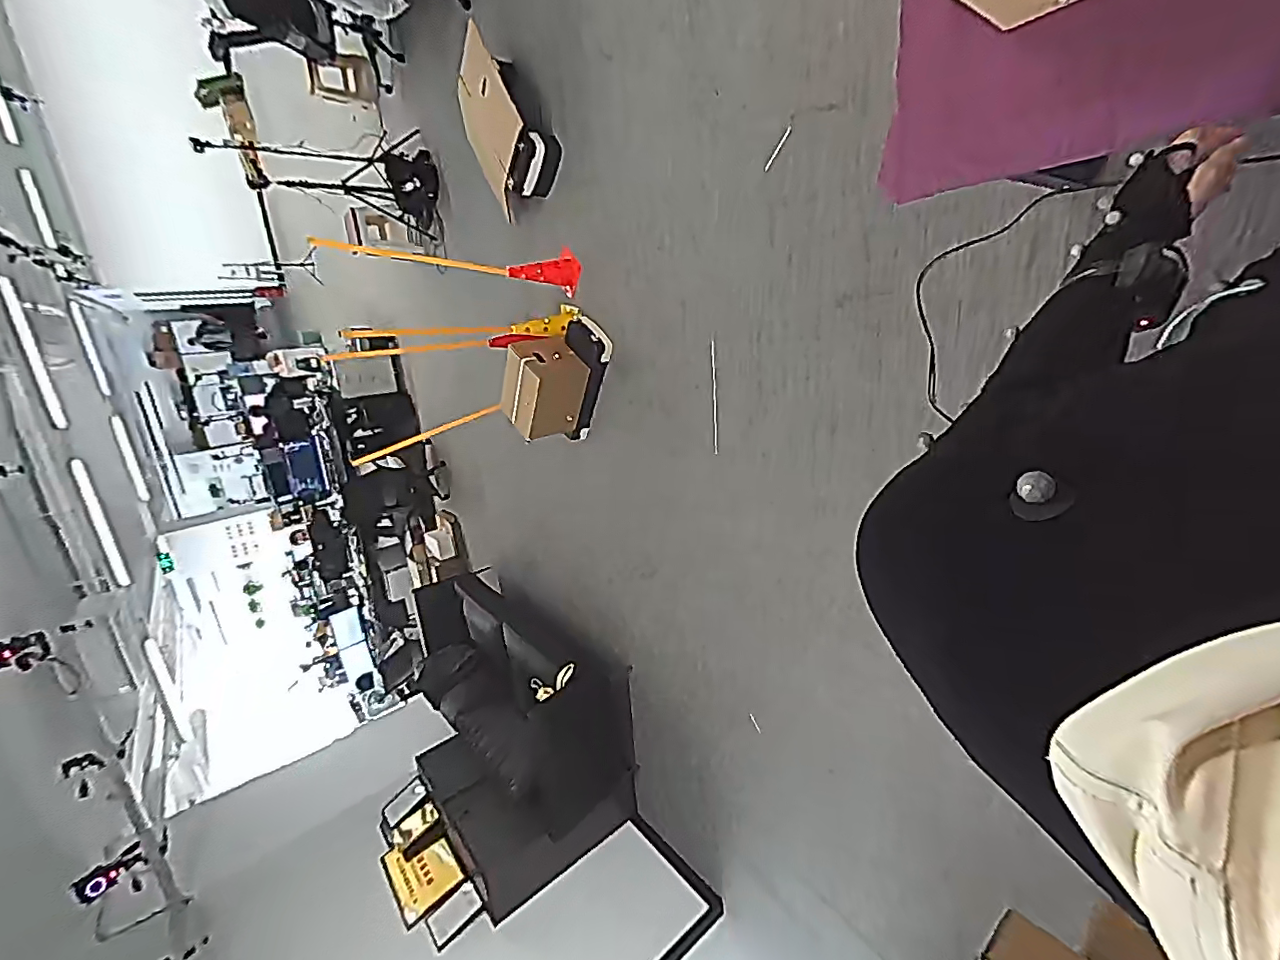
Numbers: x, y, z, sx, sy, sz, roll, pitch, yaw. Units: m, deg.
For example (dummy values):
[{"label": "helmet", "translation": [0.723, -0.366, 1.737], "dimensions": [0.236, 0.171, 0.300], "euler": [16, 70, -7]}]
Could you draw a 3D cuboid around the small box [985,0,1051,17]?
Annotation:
[{"label": "small box", "translation": [0.458, -0.656, 0.583], "dimensions": [0.168, 0.176, 0.179], "euler": [14, 115, 50]}]
